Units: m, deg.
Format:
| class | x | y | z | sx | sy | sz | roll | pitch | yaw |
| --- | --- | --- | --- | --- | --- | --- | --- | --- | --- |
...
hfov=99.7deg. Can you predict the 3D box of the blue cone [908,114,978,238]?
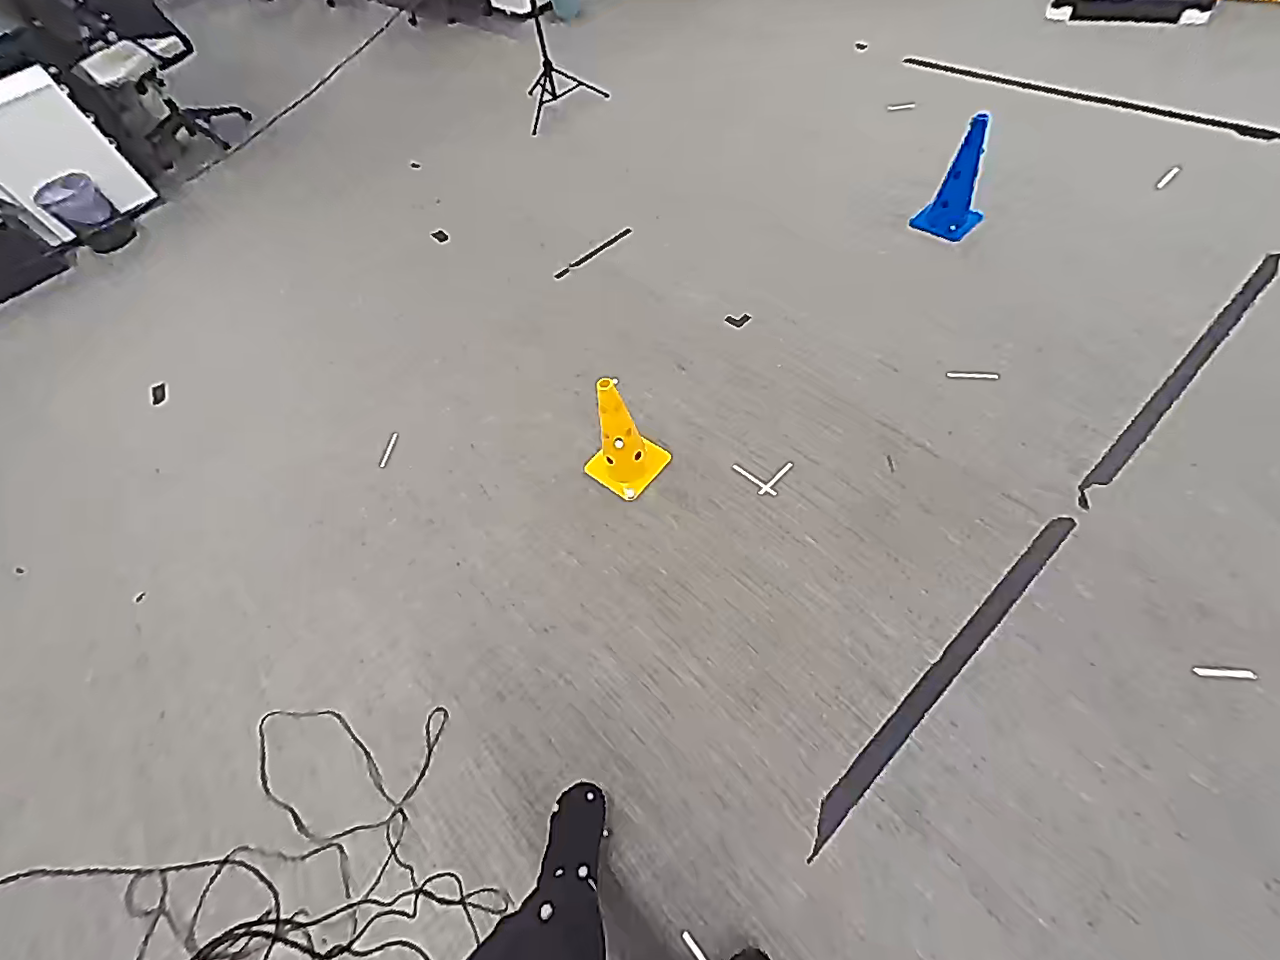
| class | x | y | z | sx | sy | sz | roll | pitch | yaw |
| --- | --- | --- | --- | --- | --- | --- | --- | --- | --- |
| blue cone | 1.107 | -1.063 | 1.889 | 0.193 | 0.380 | 0.192 | -40 | 59 | -16 |
